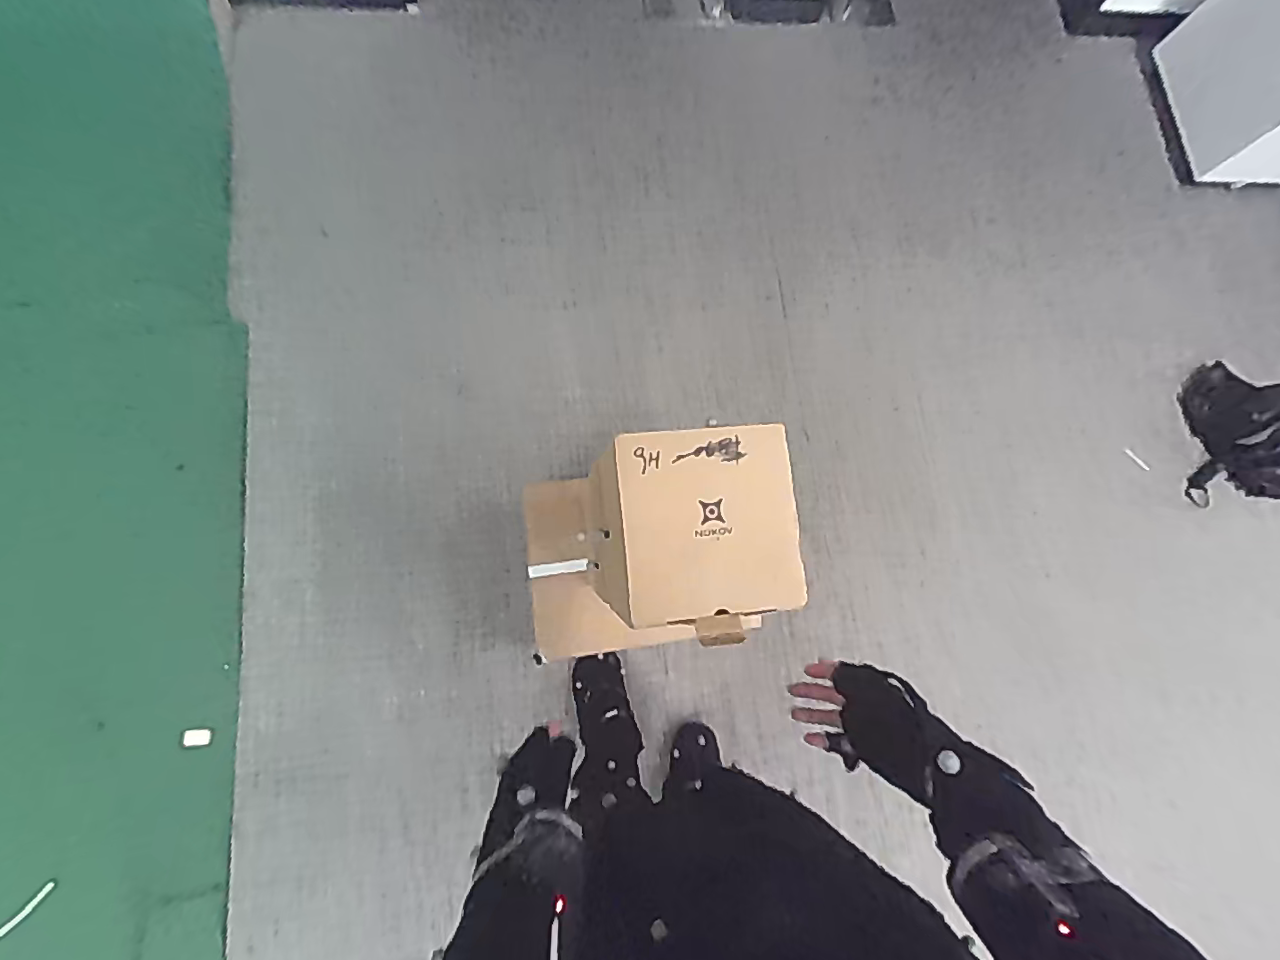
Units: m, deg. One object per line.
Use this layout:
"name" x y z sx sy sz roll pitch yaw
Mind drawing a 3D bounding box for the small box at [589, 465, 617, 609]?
"small box" 0.021 0.073 0.739 0.168 0.176 0.179 -4 83 -10

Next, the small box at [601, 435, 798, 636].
"small box" 0.050 0.055 0.579 0.168 0.176 0.179 -5 84 -9
